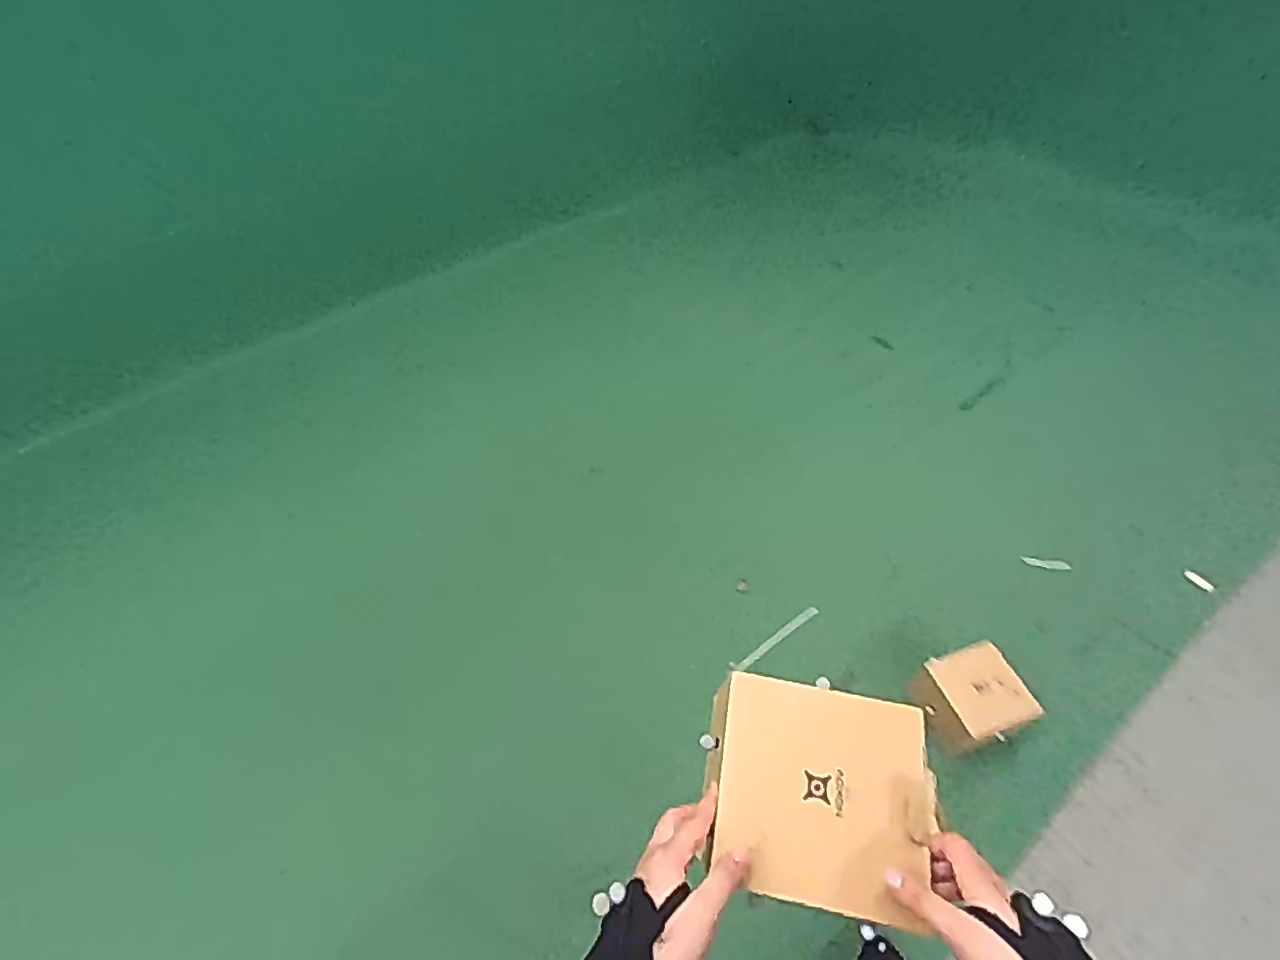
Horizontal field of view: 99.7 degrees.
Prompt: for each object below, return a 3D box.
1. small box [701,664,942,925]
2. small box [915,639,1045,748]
[{"bbox_3d":[0.158,0.290,0.521,0.179,0.176,0.168,9,63,5],"label":"small box"},{"bbox_3d":[0.770,0.498,1.254,0.179,0.176,0.168,-15,52,-7],"label":"small box"}]
